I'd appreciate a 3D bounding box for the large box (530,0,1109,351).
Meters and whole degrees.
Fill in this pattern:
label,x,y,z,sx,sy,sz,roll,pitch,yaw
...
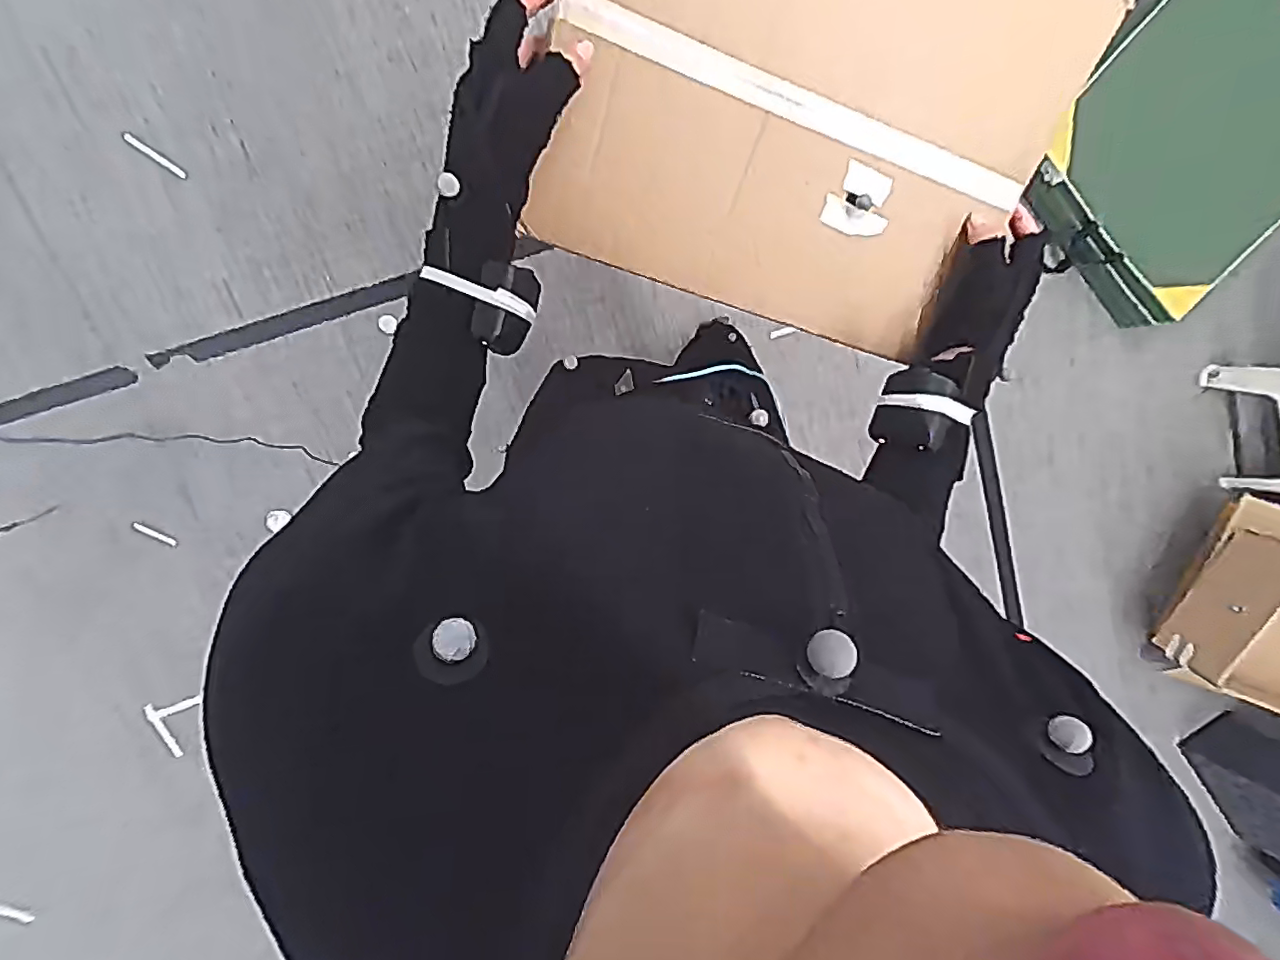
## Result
label,x,y,z,sx,sy,sz,roll,pitch,yaw
large box,0.121,-0.376,0.569,0.408,0.320,0.320,14,118,-14
